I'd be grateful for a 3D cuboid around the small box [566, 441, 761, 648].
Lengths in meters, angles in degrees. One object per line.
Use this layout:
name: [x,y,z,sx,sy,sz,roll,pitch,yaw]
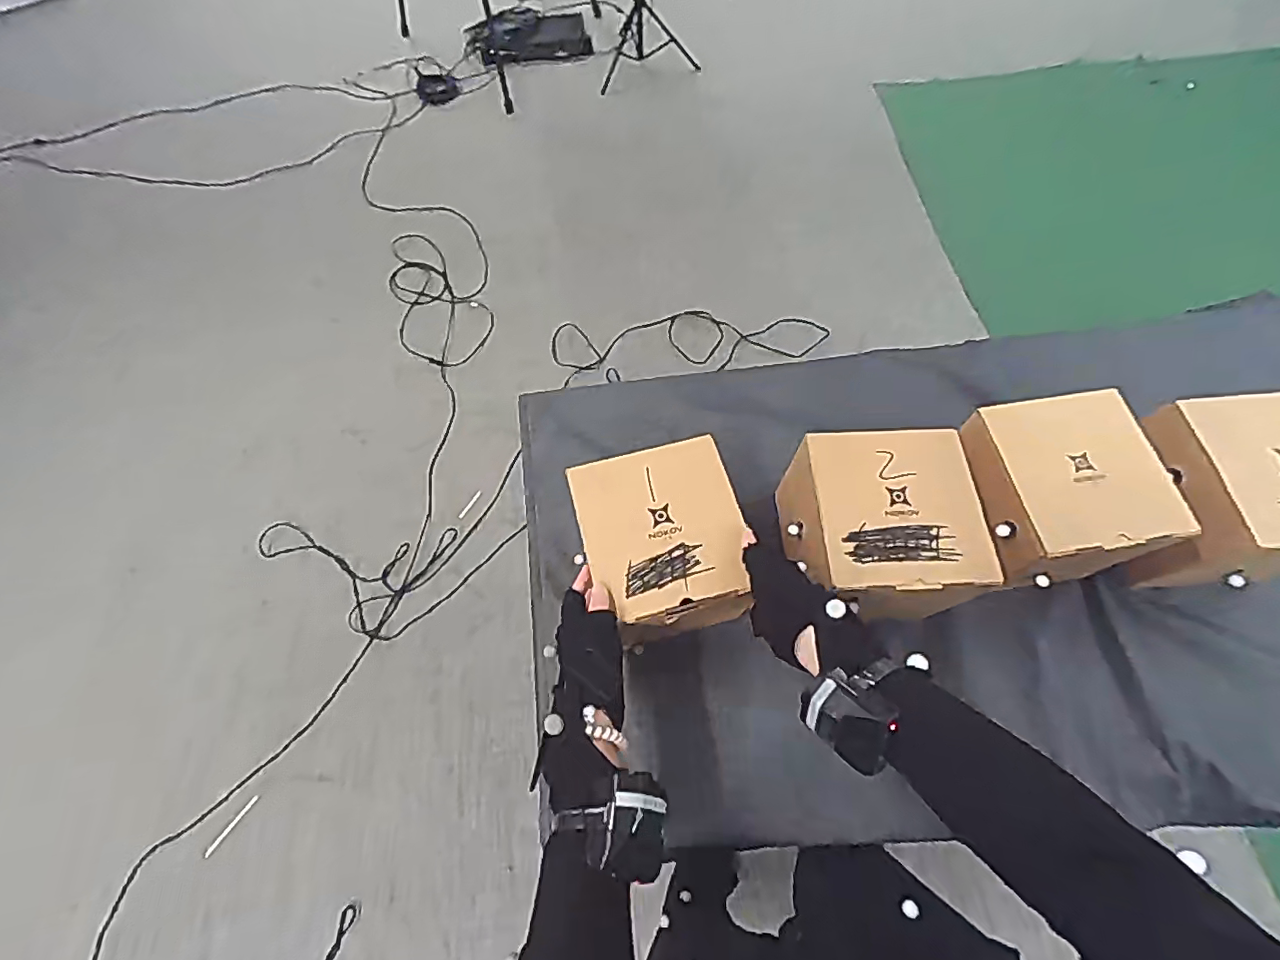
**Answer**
small box: [0.021,0.084,0.619,0.168,0.176,0.179,-14,65,-7]
